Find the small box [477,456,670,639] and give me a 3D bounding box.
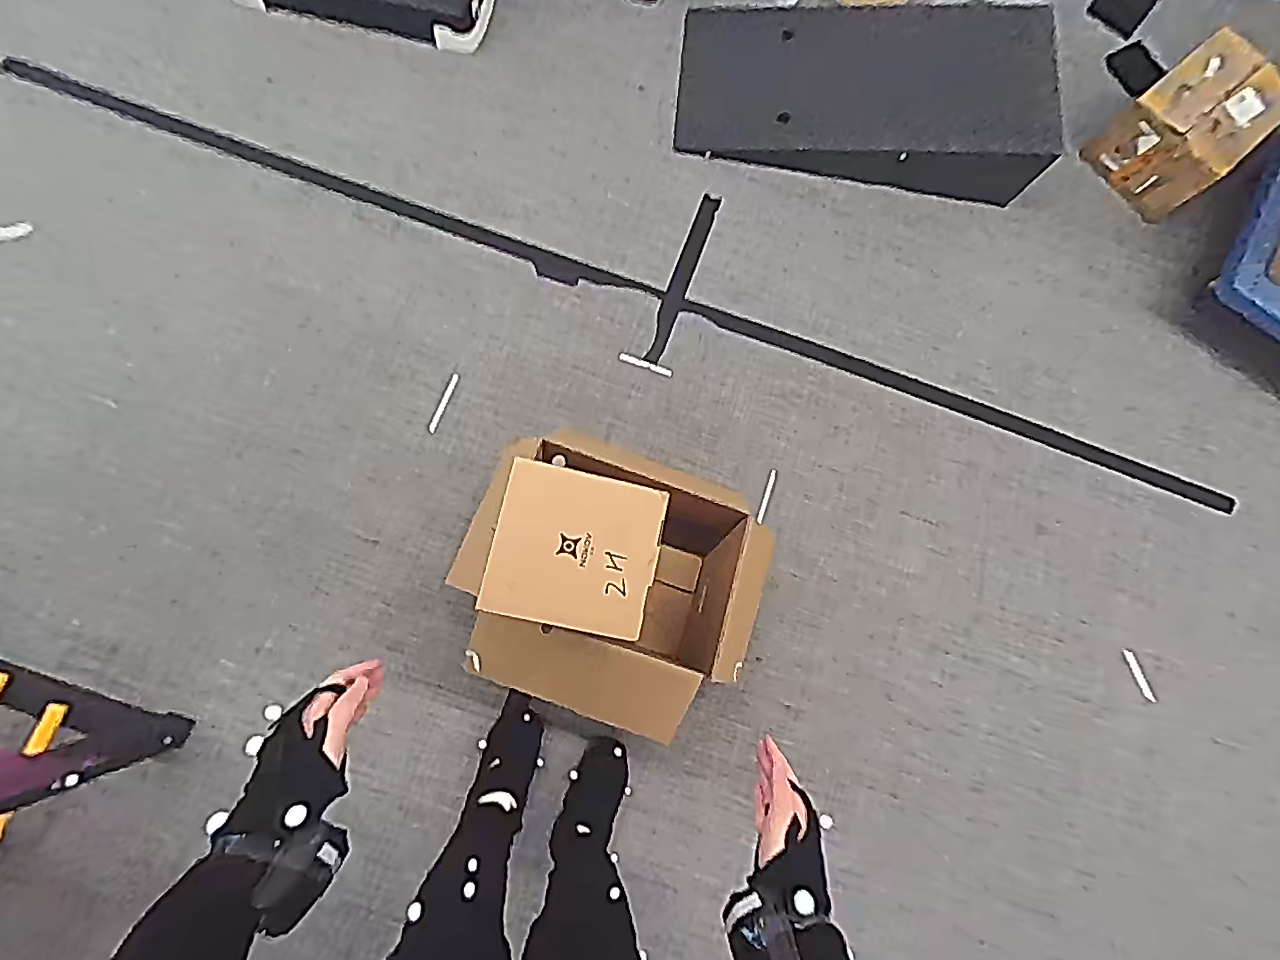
[{"bbox_3d":[-0.079,0.082,0.656,0.179,0.176,0.168,14,81,-6],"label":"small box"}]
